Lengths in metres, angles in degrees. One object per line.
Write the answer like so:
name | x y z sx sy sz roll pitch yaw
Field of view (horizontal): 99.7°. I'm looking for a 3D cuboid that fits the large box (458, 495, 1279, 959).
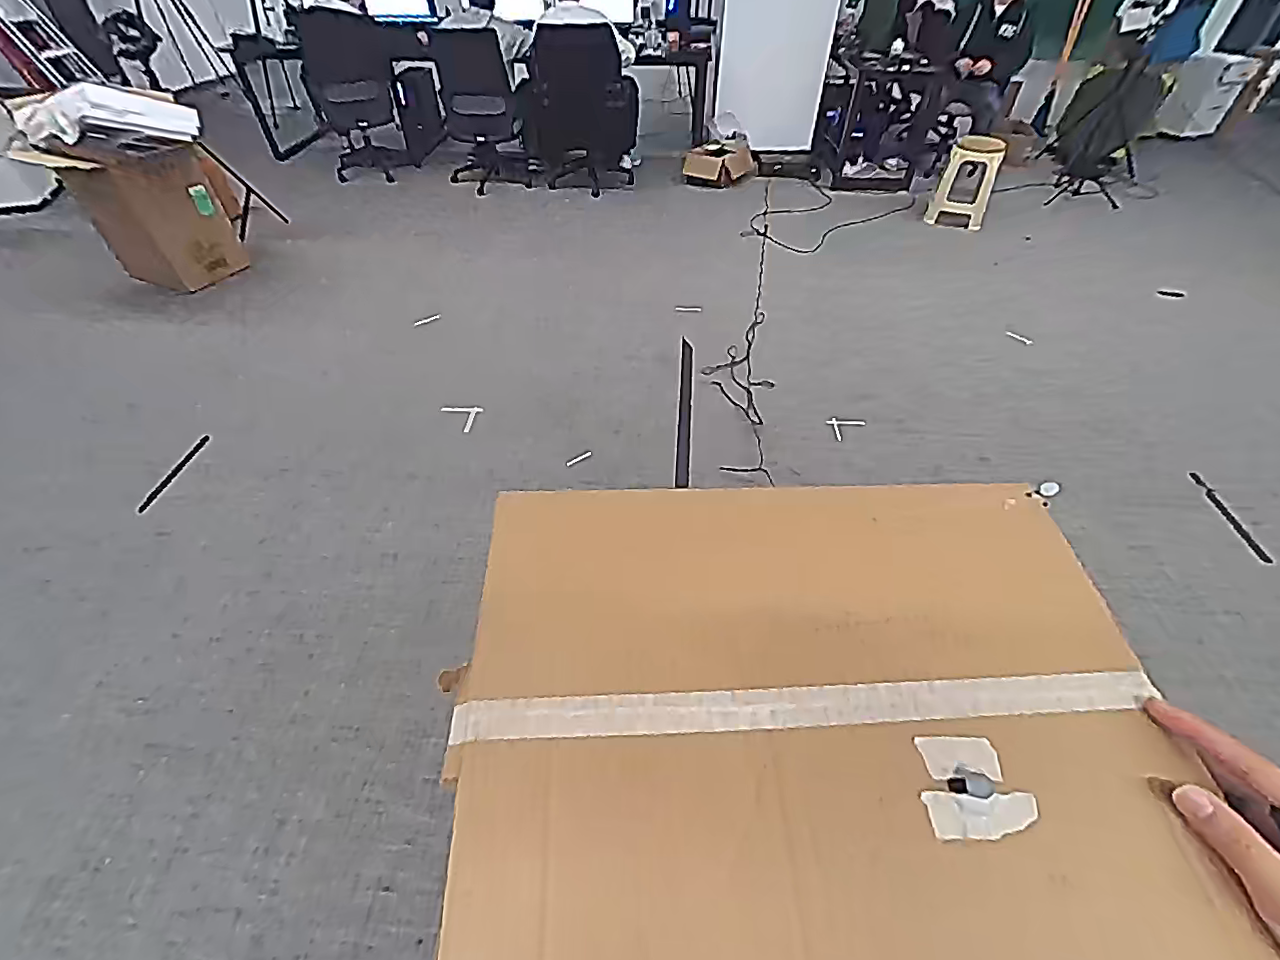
large box | 0.098 0.229 0.441 0.408 0.320 0.320 -1 54 -4
